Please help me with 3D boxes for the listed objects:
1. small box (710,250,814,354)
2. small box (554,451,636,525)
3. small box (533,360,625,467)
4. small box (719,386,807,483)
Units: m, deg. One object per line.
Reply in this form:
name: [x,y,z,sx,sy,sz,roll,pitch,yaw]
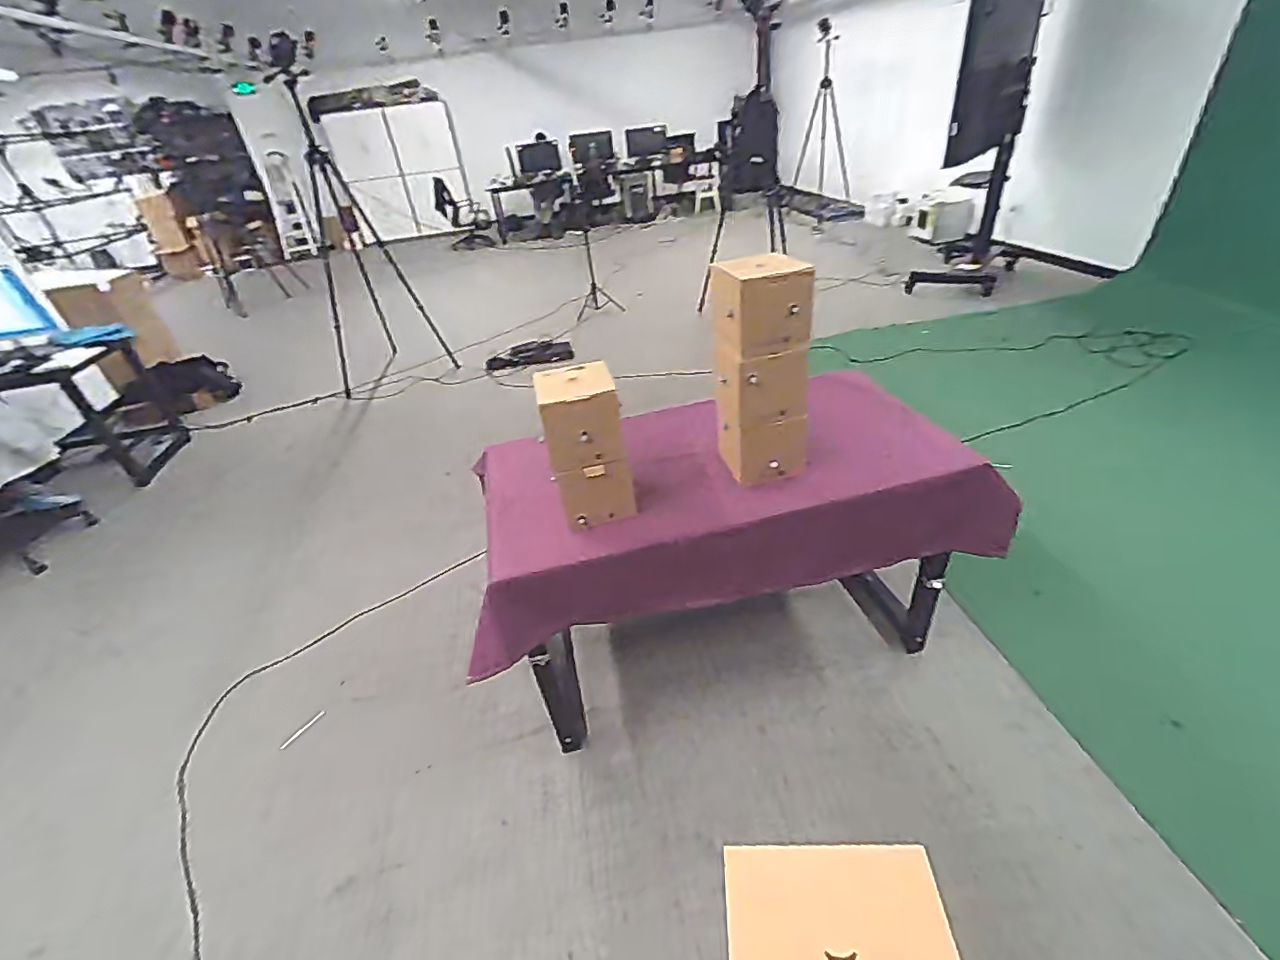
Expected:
small box: [0.261,-0.386,1.179,0.168,0.176,0.179,-13,34,-8]
small box: [-0.113,-0.009,1.294,0.168,0.176,0.179,-13,34,-8]
small box: [-0.135,-0.143,1.200,0.168,0.176,0.179,-12,36,-7]
small box: [0.303,-0.115,1.359,0.168,0.176,0.179,-12,35,-5]
